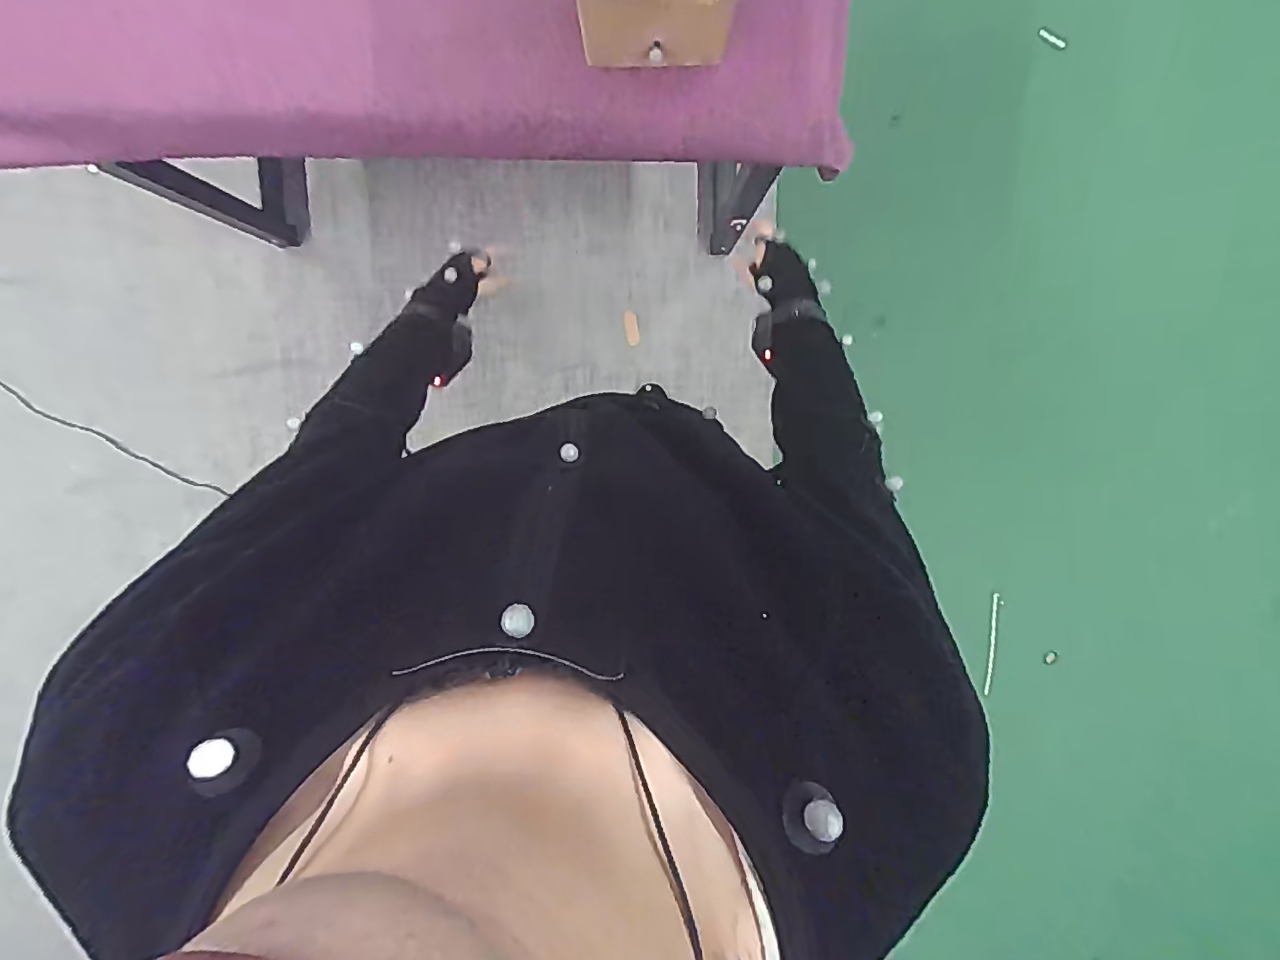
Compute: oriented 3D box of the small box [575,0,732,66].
[{"bbox_3d":[0.016,-0.600,0.601,0.179,0.176,0.168,-1,96,0],"label":"small box"}]
